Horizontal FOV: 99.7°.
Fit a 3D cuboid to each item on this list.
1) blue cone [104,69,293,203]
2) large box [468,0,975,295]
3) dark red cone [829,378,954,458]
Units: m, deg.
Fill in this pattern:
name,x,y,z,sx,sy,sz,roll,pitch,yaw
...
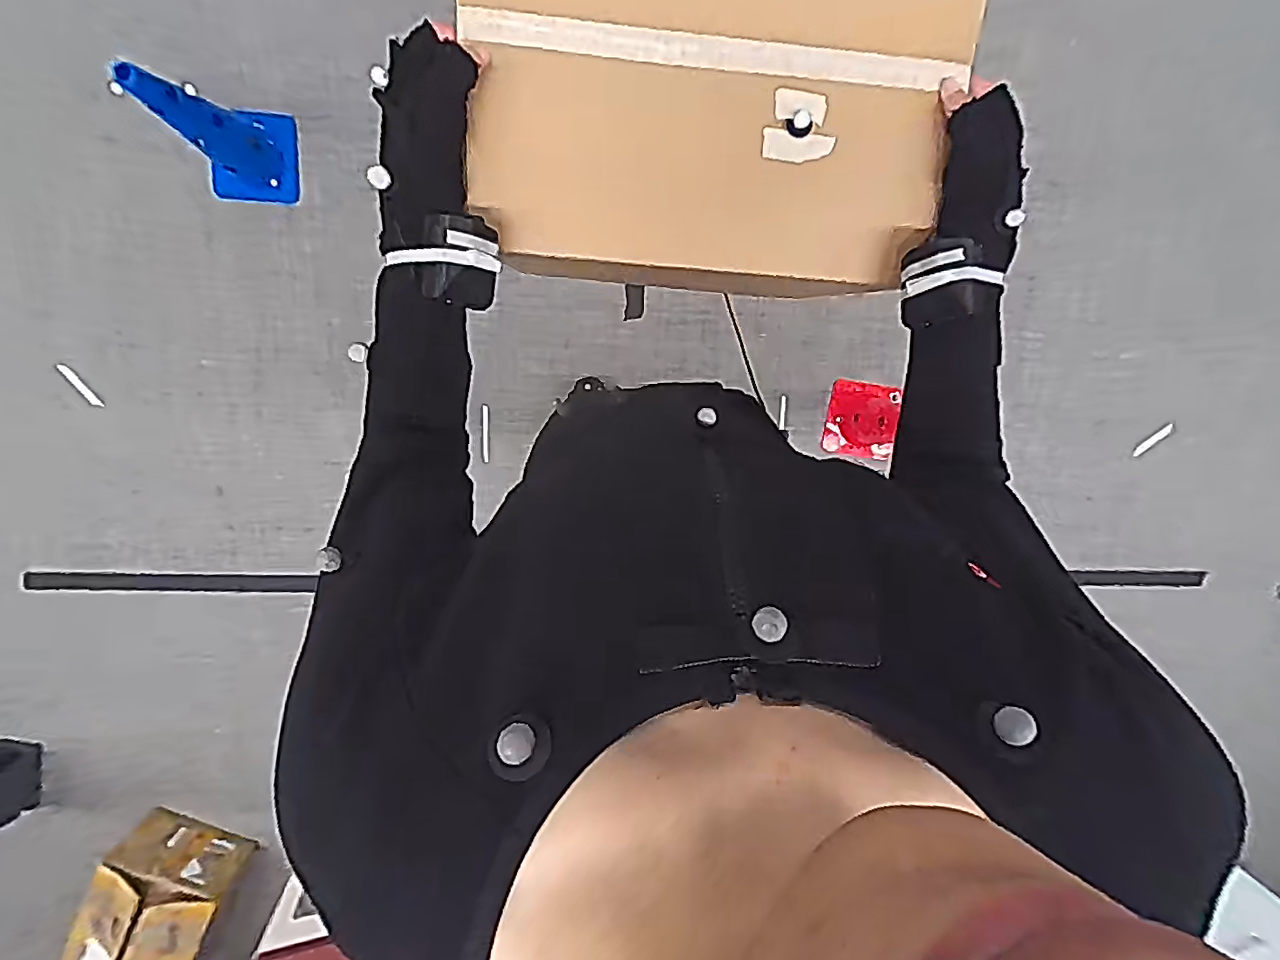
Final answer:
name,x,y,z,sx,sy,sz,roll,pitch,yaw
blue cone,-0.928,-0.742,1.141,0.192,0.380,0.193,5,100,-3
large box,0.052,-0.378,0.573,0.408,0.320,0.320,3,107,-5
dark red cone,0.621,-0.136,1.293,0.201,0.394,0.202,7,99,-3
